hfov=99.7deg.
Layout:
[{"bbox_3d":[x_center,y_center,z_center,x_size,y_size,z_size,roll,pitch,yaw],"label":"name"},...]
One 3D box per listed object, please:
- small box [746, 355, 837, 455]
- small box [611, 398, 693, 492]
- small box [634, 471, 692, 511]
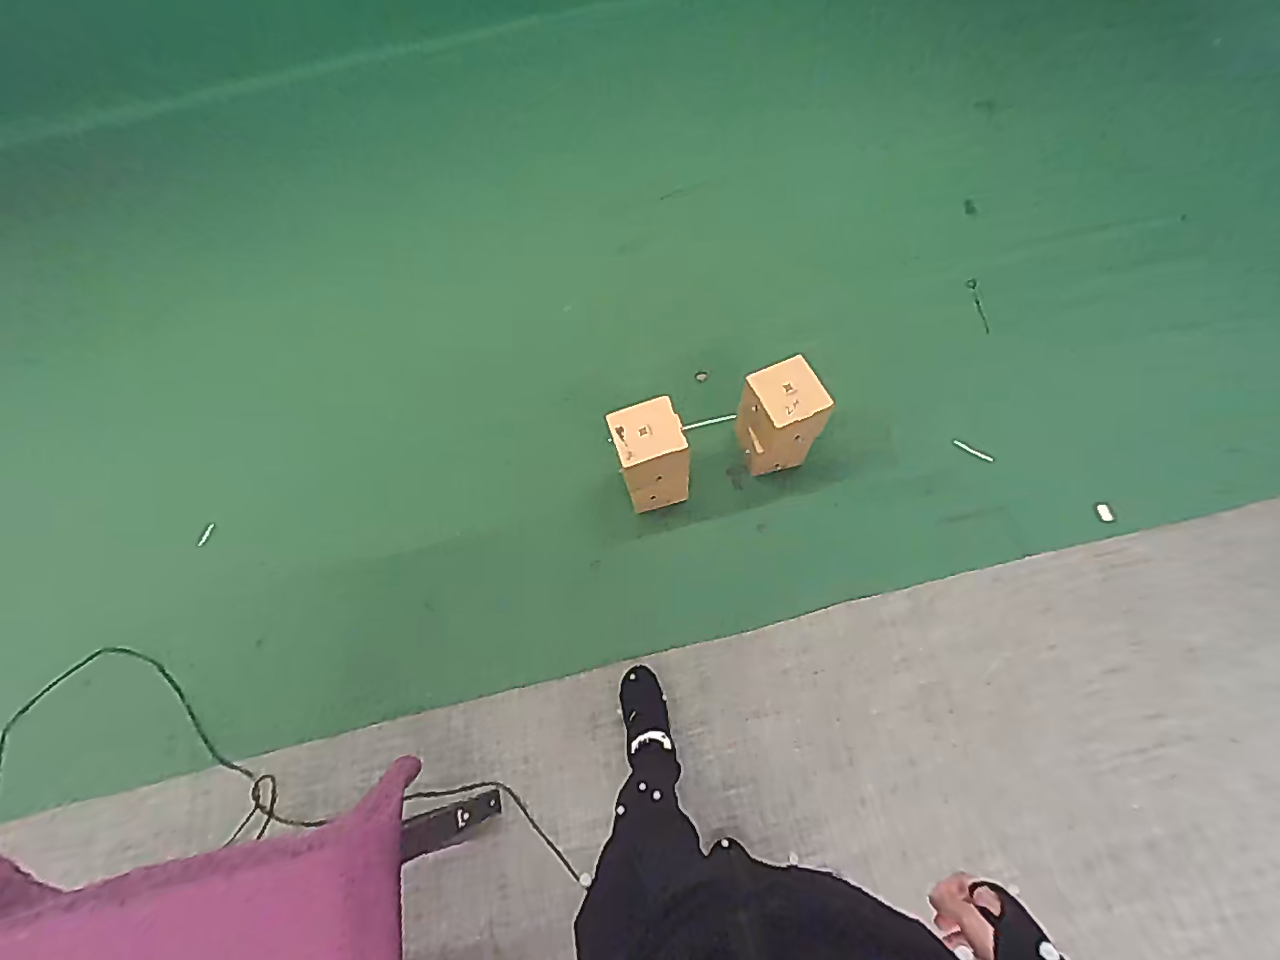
[{"bbox_3d":[0.398,-0.199,1.460,0.168,0.176,0.179,-23,67,-4],"label":"small box"},{"bbox_3d":[0.033,-0.089,1.448,0.179,0.176,0.168,-18,65,-3],"label":"small box"},{"bbox_3d":[0.053,-0.023,1.597,0.168,0.176,0.179,-16,65,-1],"label":"small box"}]
